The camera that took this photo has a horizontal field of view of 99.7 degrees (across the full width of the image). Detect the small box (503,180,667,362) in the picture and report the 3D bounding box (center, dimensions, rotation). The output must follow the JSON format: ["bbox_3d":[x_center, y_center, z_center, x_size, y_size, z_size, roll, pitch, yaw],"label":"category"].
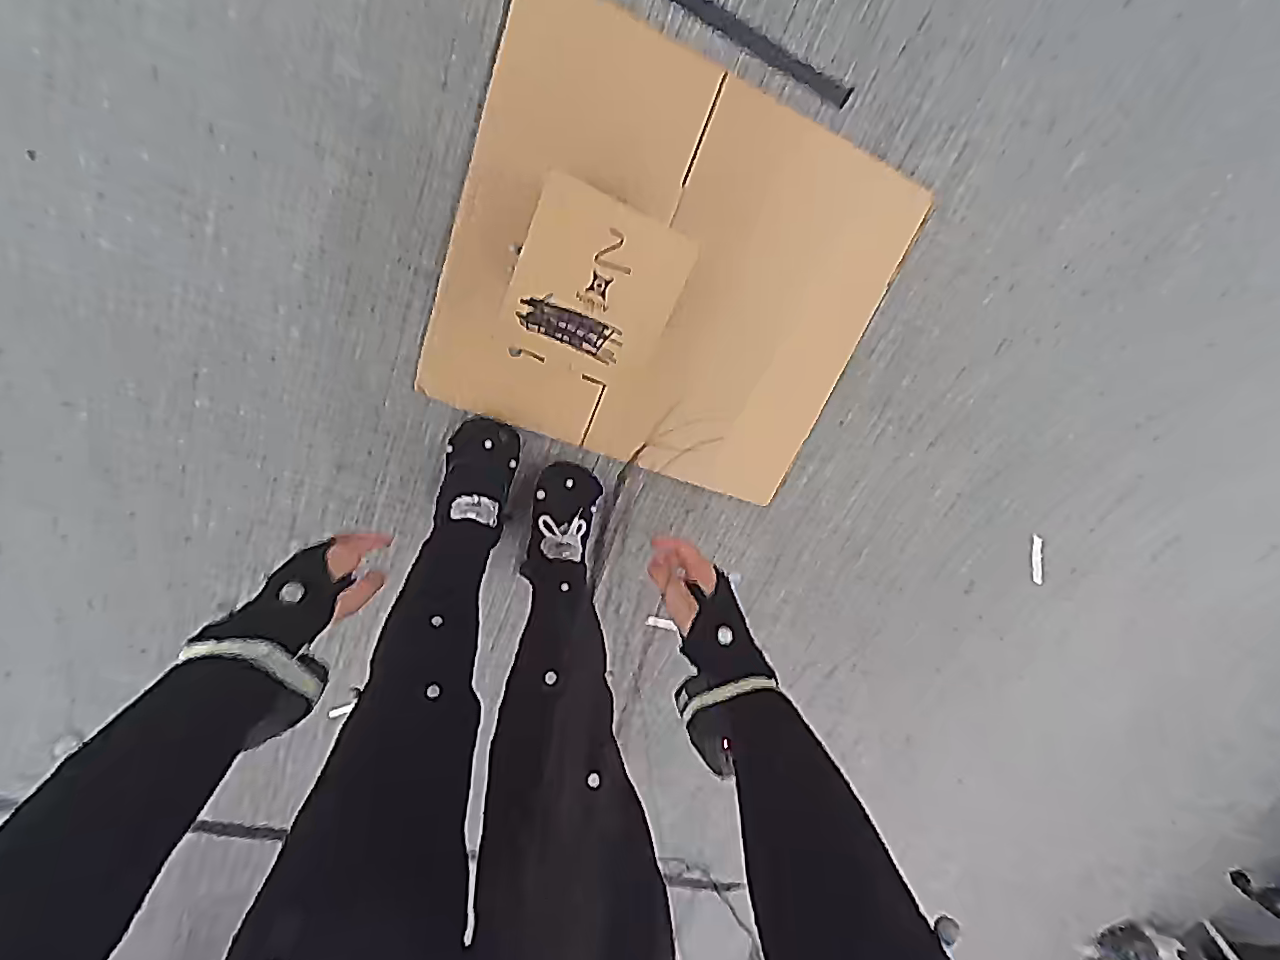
[{"bbox_3d":[-0.084,-0.299,0.780,0.168,0.176,0.179,21,109,-20],"label":"small box"}]
